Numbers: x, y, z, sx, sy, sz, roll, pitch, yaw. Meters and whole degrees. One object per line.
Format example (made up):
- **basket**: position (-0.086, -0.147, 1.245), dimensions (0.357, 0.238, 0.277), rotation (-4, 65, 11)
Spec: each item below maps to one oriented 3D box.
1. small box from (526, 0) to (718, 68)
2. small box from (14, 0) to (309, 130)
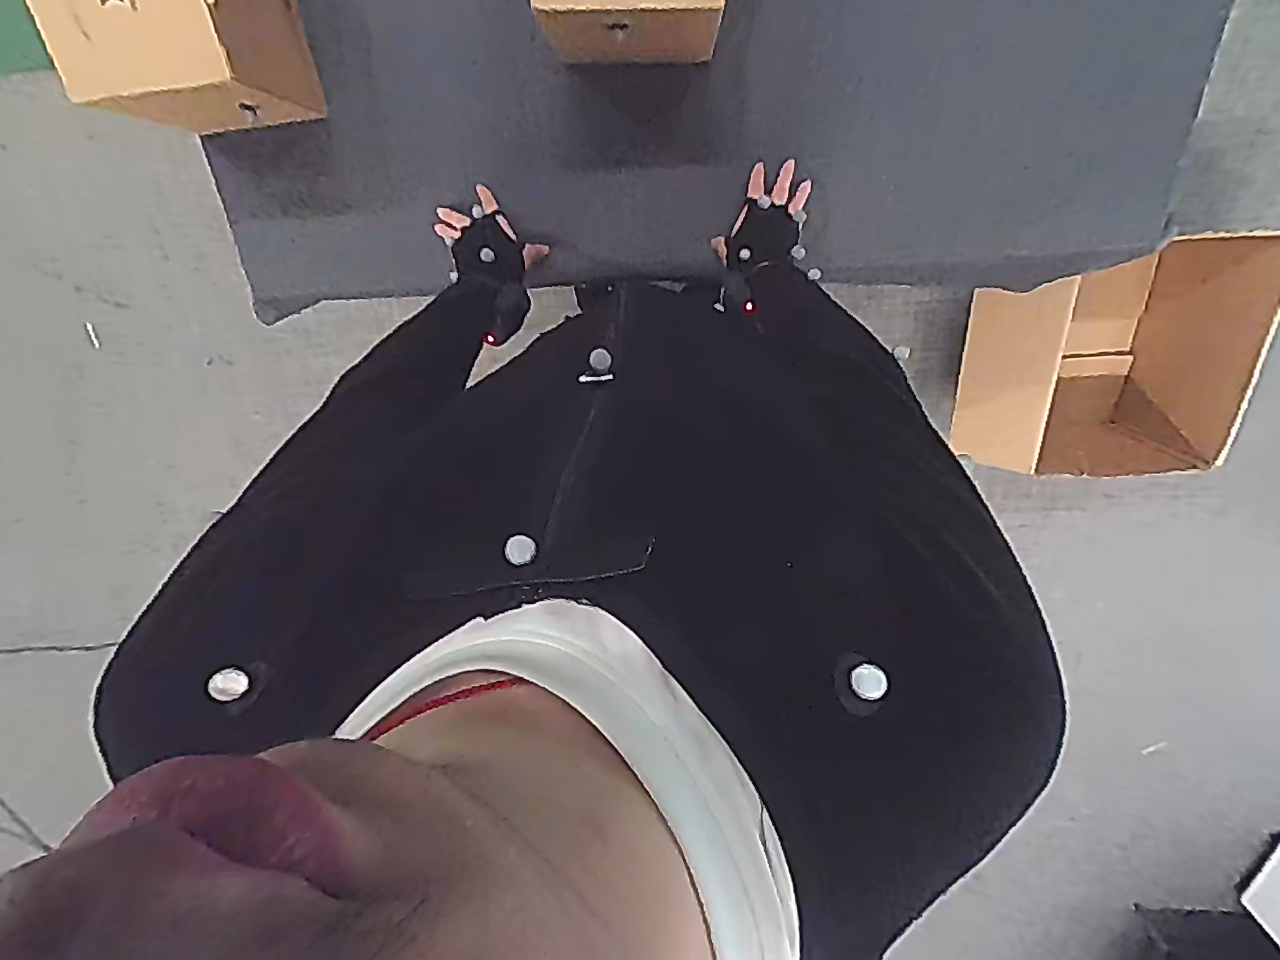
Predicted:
- **small box**: position (-0.007, -0.525, 0.527), dimensions (0.179, 0.176, 0.168), rotation (4, 116, 1)
- **small box**: position (-0.481, -0.479, 0.557), dimensions (0.179, 0.176, 0.168), rotation (-4, 113, 6)
